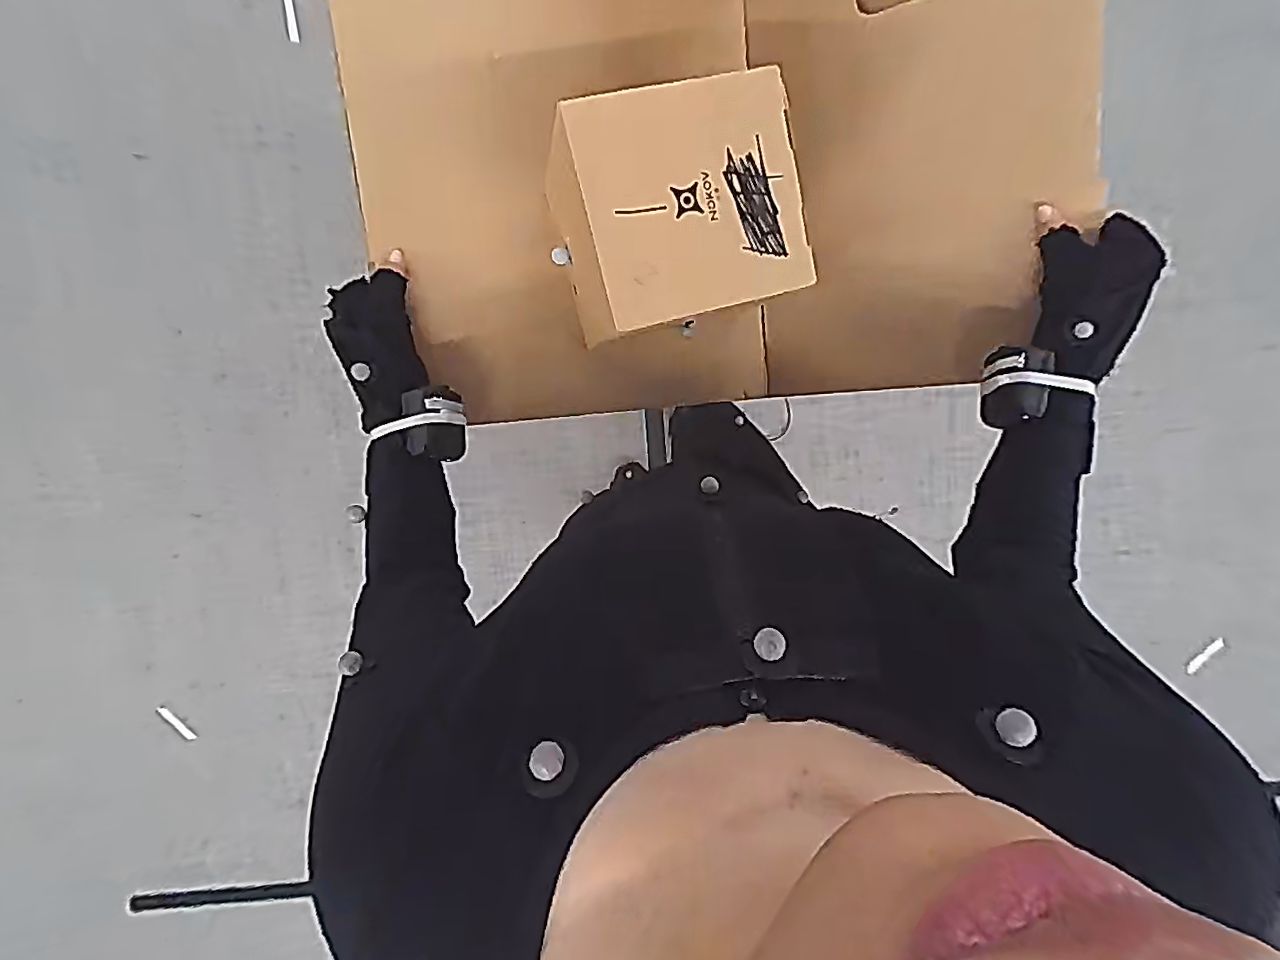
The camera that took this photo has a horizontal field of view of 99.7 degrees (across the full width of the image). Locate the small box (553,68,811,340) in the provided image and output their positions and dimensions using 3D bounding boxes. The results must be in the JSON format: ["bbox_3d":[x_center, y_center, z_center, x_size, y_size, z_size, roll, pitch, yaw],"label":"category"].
[{"bbox_3d":[0.027,-0.235,0.500,0.179,0.176,0.168,-16,101,-10],"label":"small box"}]
